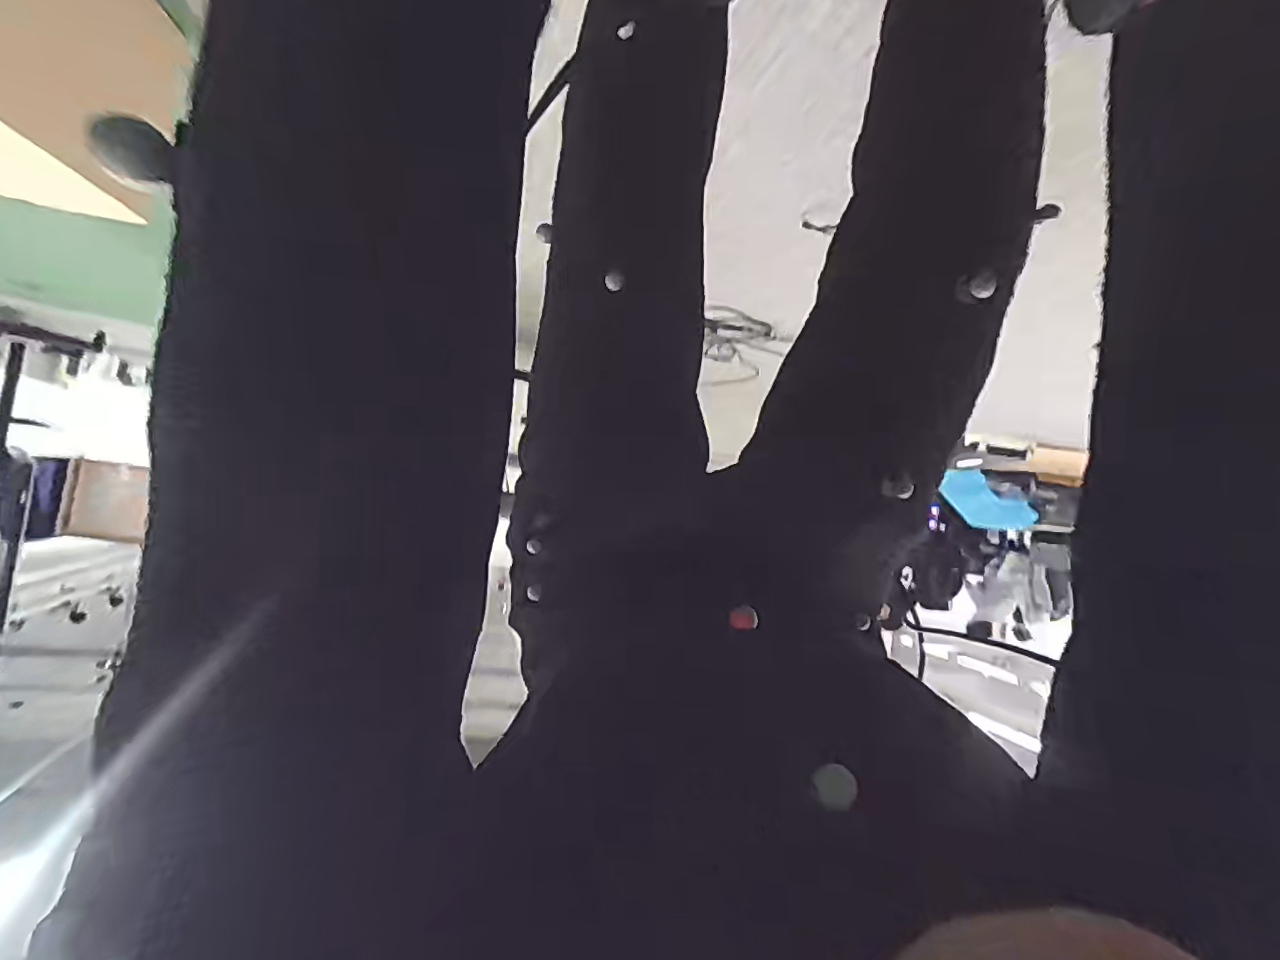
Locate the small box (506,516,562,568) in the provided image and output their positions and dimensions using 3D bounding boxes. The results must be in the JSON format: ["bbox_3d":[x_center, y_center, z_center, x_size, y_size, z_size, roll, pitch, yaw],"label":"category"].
[{"bbox_3d":[-0.419,0.244,2.144,0.179,0.176,0.168,12,175,-22],"label":"small box"}]
